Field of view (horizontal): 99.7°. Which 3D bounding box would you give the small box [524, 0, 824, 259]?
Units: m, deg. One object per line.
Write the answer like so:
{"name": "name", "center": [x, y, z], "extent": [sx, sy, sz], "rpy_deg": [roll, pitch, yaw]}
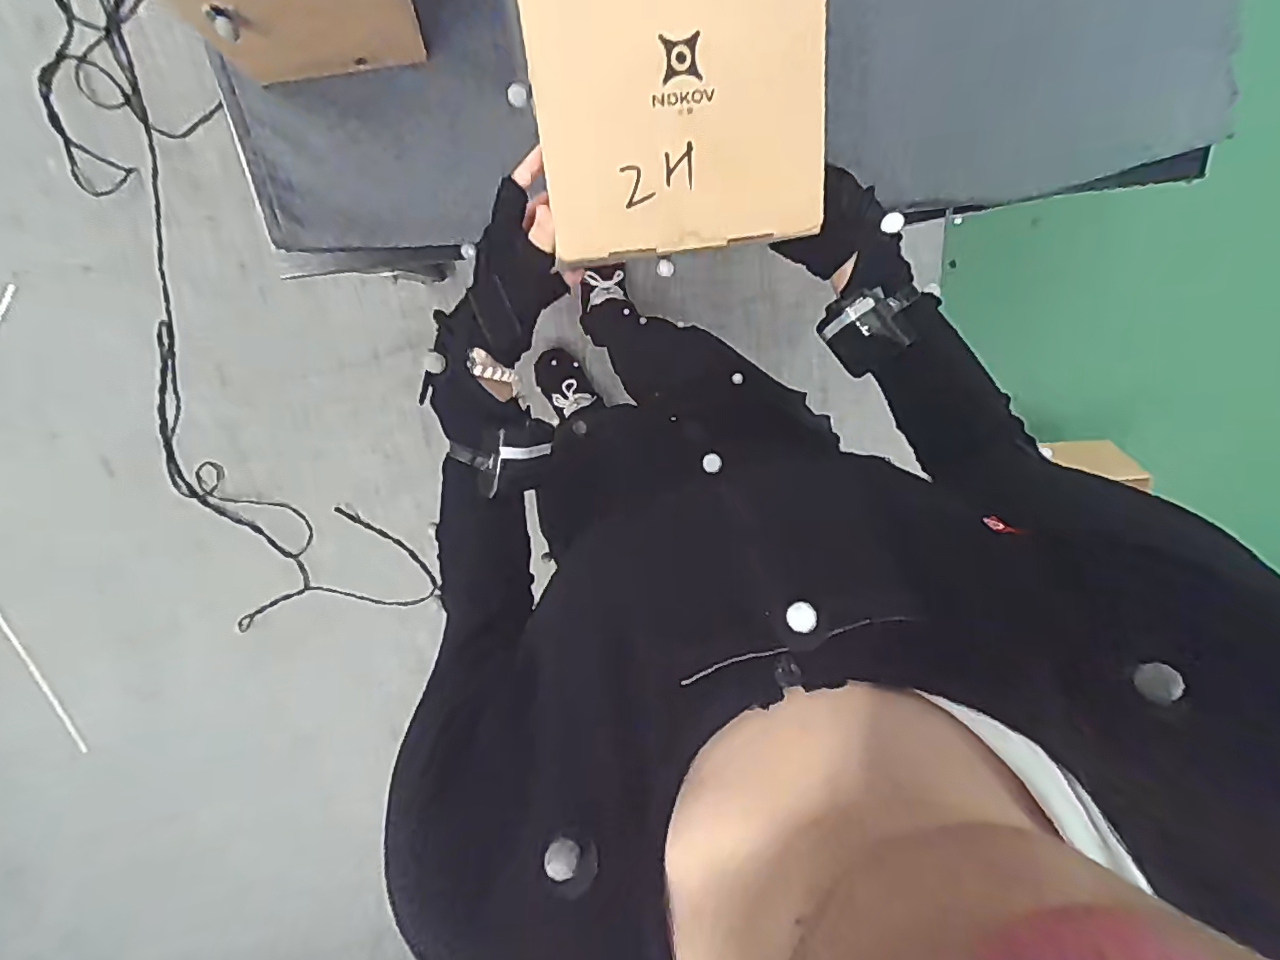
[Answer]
{"name": "small box", "center": [0.013, -0.256, 0.372], "extent": [0.168, 0.176, 0.179], "rpy_deg": [-7, 111, -3]}
